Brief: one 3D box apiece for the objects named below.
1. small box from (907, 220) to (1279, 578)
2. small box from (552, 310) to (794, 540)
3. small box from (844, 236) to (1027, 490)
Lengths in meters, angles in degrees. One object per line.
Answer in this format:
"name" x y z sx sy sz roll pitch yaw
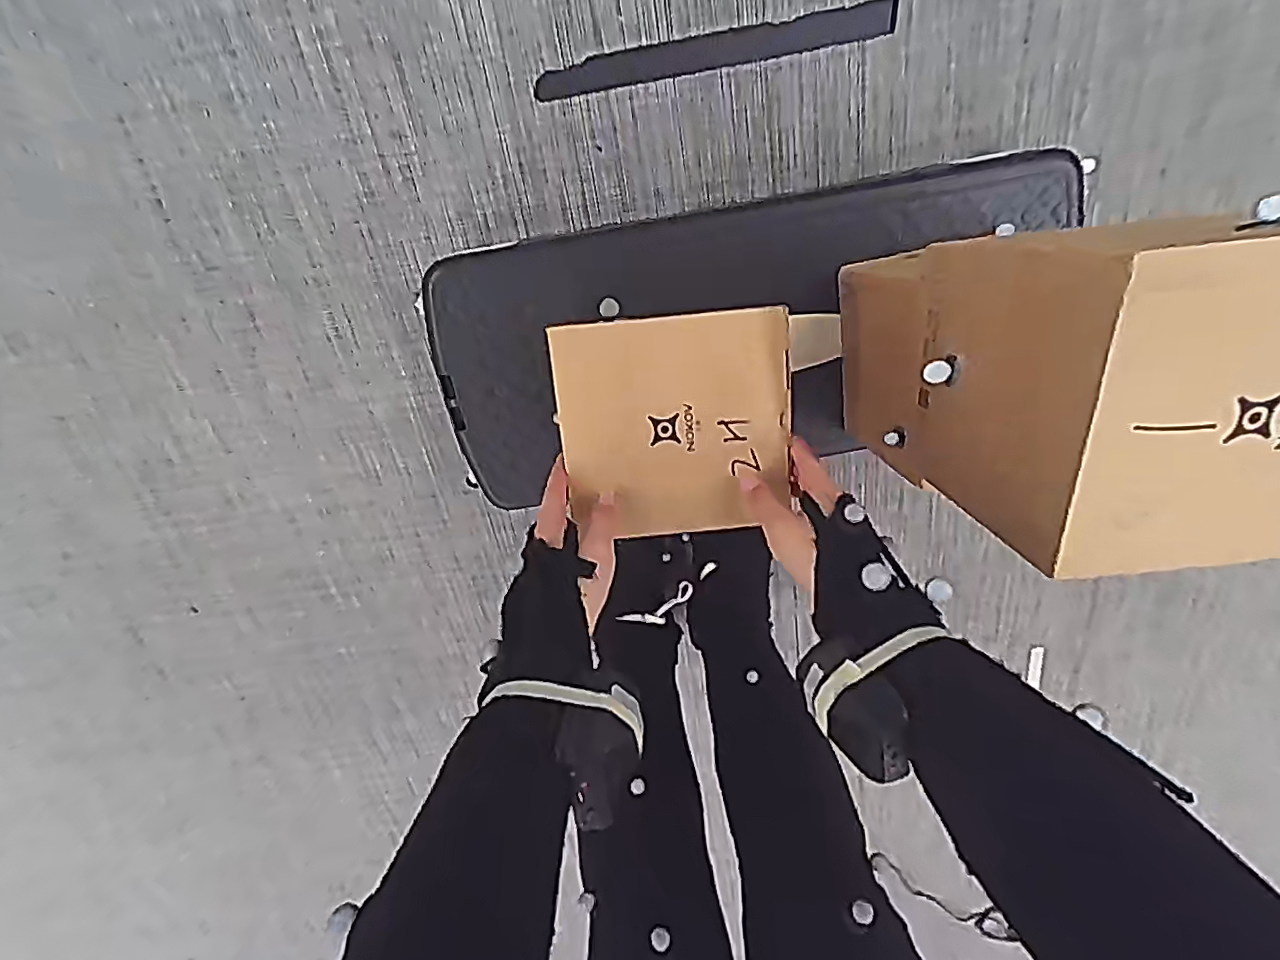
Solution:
"small box" 0.296 -0.062 0.329 0.179 0.176 0.168 -5 114 1
"small box" 0.027 -0.056 0.481 0.179 0.176 0.168 -5 105 -1
"small box" 0.295 -0.115 0.485 0.168 0.176 0.179 -11 114 2
